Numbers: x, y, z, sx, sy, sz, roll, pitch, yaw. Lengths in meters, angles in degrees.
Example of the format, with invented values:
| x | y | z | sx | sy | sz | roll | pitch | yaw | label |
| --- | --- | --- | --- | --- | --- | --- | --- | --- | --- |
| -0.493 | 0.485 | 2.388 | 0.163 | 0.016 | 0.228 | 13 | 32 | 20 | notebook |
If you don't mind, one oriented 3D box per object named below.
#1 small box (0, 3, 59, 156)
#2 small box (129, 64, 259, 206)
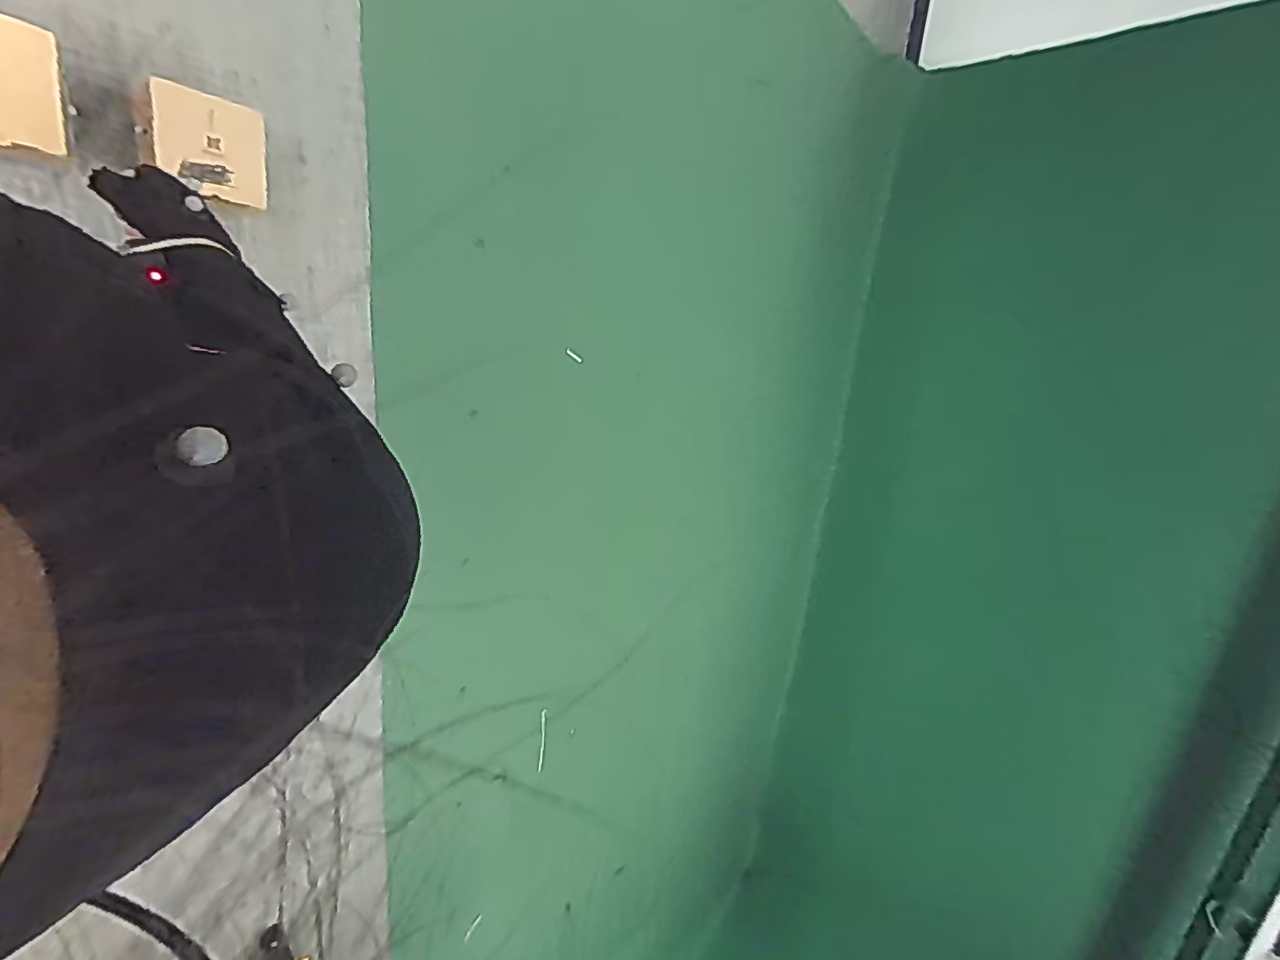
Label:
| x | y | z | sx | sy | sz | roll | pitch | yaw | label |
| --- | --- | --- | --- | --- | --- | --- | --- | --- | --- |
| -1.019 | -0.622 | 0.823 | 0.168 | 0.176 | 0.179 | -7 | 111 | -48 | small box |
| -0.843 | -0.635 | 1.025 | 0.168 | 0.176 | 0.179 | -8 | 110 | -48 | small box |
